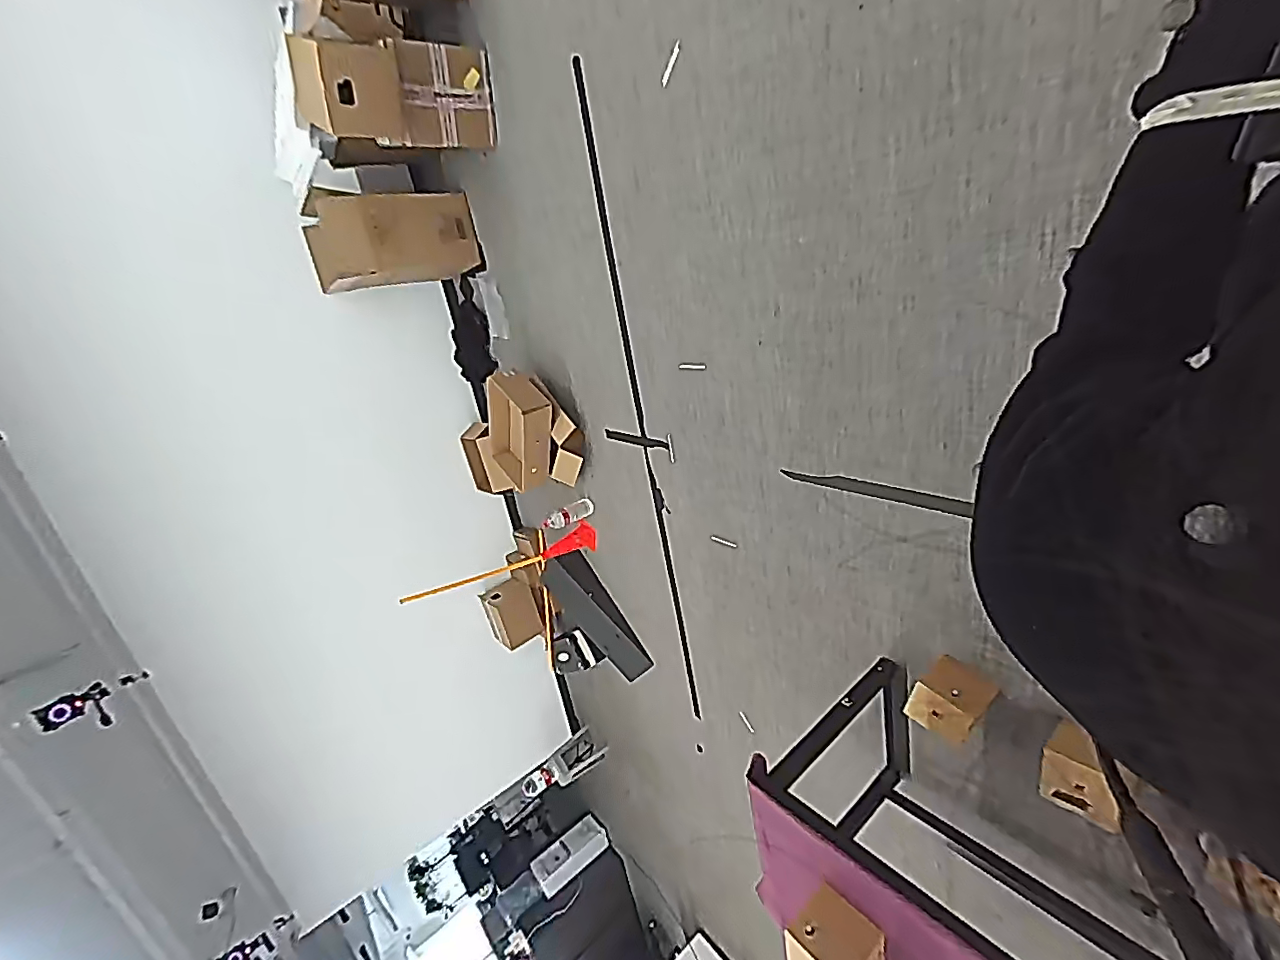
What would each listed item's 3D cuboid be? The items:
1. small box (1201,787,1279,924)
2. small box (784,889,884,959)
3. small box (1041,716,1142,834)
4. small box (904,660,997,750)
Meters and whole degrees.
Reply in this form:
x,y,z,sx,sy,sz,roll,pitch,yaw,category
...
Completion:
x,y,z,sx,sy,sz,roll,pitch,yaw,category
1.398,0.838,1.200,0.168,0.176,0.179,18,126,49,small box
0.491,1.193,1.371,0.179,0.176,0.168,18,125,49,small box
1.202,0.776,1.441,0.168,0.176,0.179,15,121,51,small box
0.981,0.699,1.711,0.179,0.176,0.168,33,135,38,small box
